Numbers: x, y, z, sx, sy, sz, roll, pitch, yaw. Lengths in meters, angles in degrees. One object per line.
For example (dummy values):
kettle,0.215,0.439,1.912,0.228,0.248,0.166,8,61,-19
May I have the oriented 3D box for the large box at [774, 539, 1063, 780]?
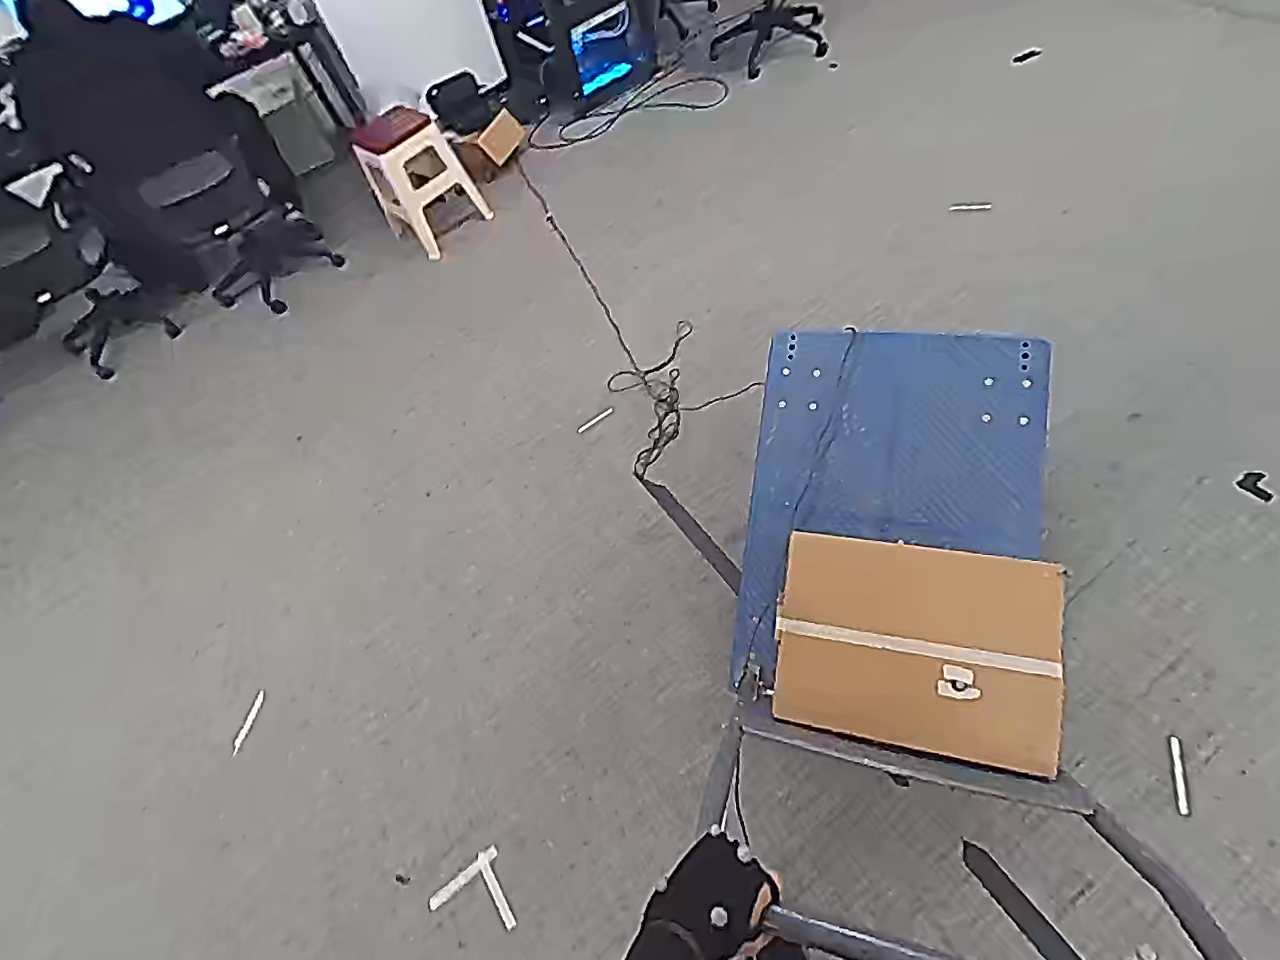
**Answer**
large box,0.463,0.290,0.988,0.408,0.320,0.320,6,84,16
